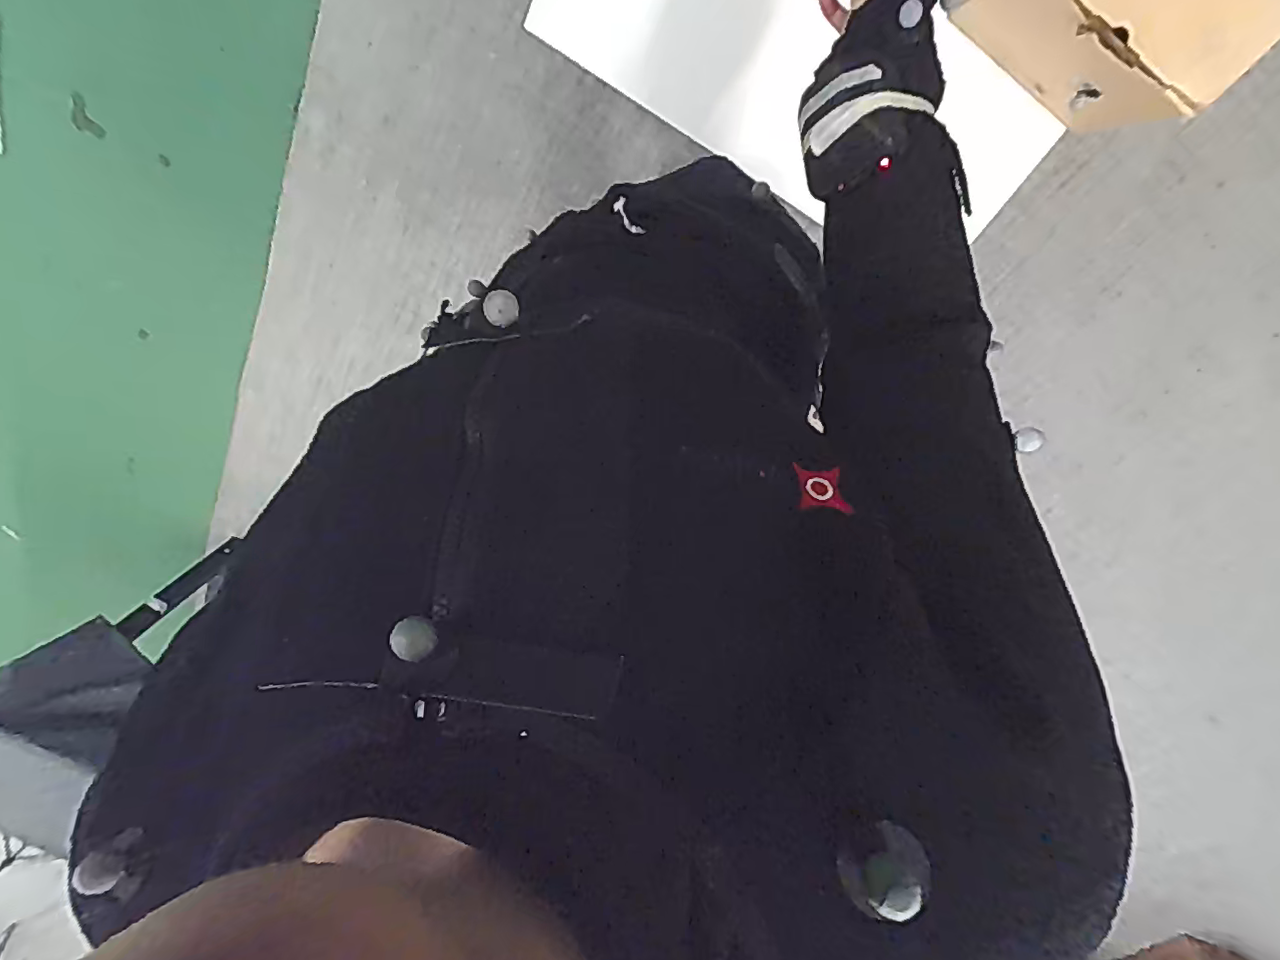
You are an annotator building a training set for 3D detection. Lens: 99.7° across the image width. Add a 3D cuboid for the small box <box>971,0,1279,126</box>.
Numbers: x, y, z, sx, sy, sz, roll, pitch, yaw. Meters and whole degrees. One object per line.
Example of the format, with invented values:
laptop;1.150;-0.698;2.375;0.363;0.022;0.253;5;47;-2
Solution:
small box;0.379;-0.390;0.390;0.168;0.176;0.179;32;119;-10
